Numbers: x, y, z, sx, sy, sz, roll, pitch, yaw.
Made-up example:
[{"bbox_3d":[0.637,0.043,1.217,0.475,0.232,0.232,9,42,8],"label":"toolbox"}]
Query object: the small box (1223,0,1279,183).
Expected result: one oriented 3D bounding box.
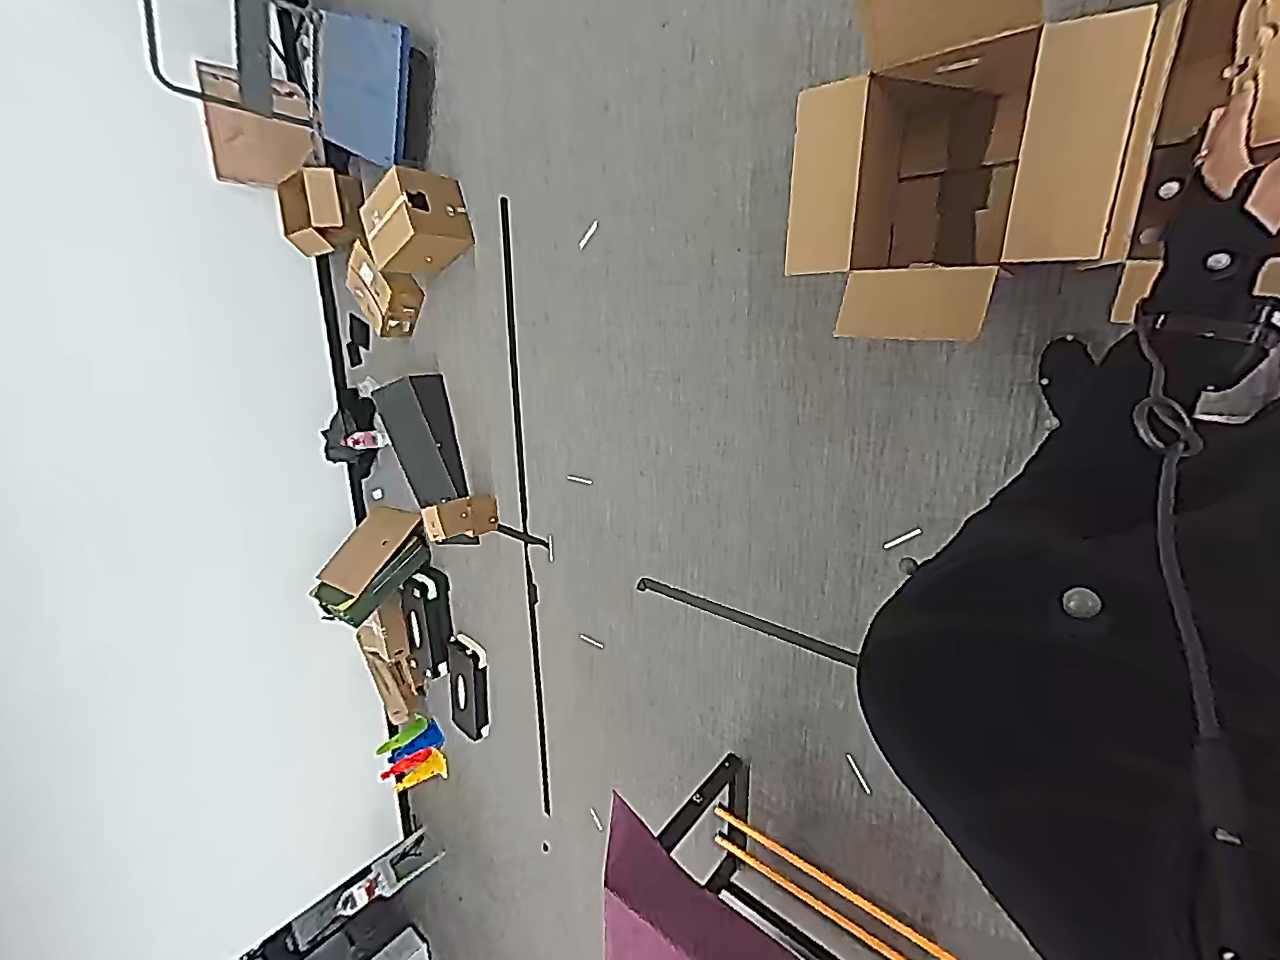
[{"bbox_3d":[0.598,-0.356,0.424,0.179,0.176,0.168,6,105,44],"label":"small box"}]
